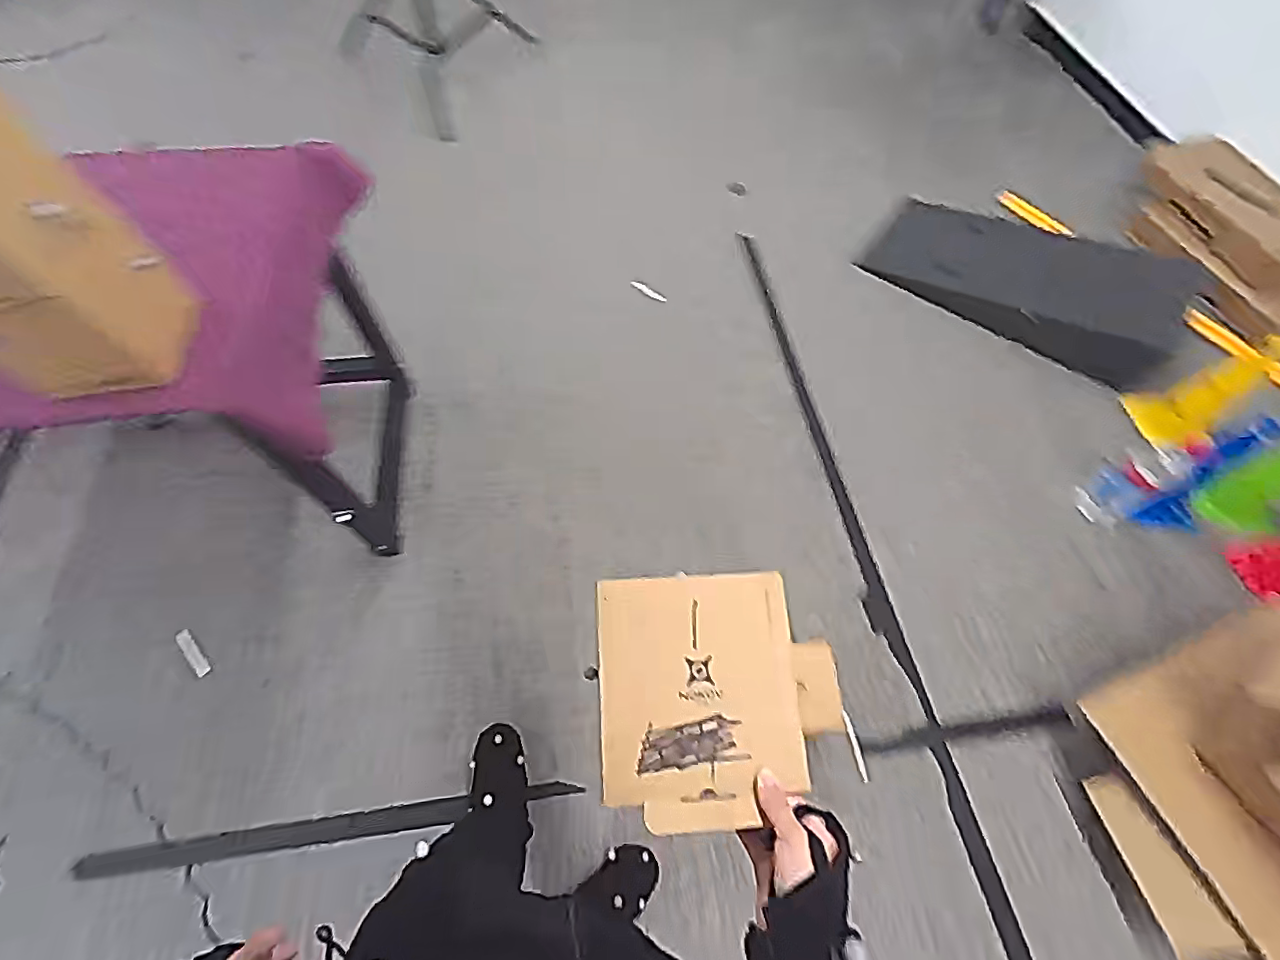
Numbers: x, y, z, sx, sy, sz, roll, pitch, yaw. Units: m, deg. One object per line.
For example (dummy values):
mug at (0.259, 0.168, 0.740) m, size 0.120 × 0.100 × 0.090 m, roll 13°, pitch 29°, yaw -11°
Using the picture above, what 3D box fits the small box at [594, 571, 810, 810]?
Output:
small box at (0.044, 0.190, 0.517) m, size 0.168 × 0.176 × 0.179 m, roll -3°, pitch 72°, yaw -5°

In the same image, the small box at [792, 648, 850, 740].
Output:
small box at (0.346, 0.486, 1.218) m, size 0.168 × 0.176 × 0.179 m, roll -1°, pitch 62°, yaw -2°
